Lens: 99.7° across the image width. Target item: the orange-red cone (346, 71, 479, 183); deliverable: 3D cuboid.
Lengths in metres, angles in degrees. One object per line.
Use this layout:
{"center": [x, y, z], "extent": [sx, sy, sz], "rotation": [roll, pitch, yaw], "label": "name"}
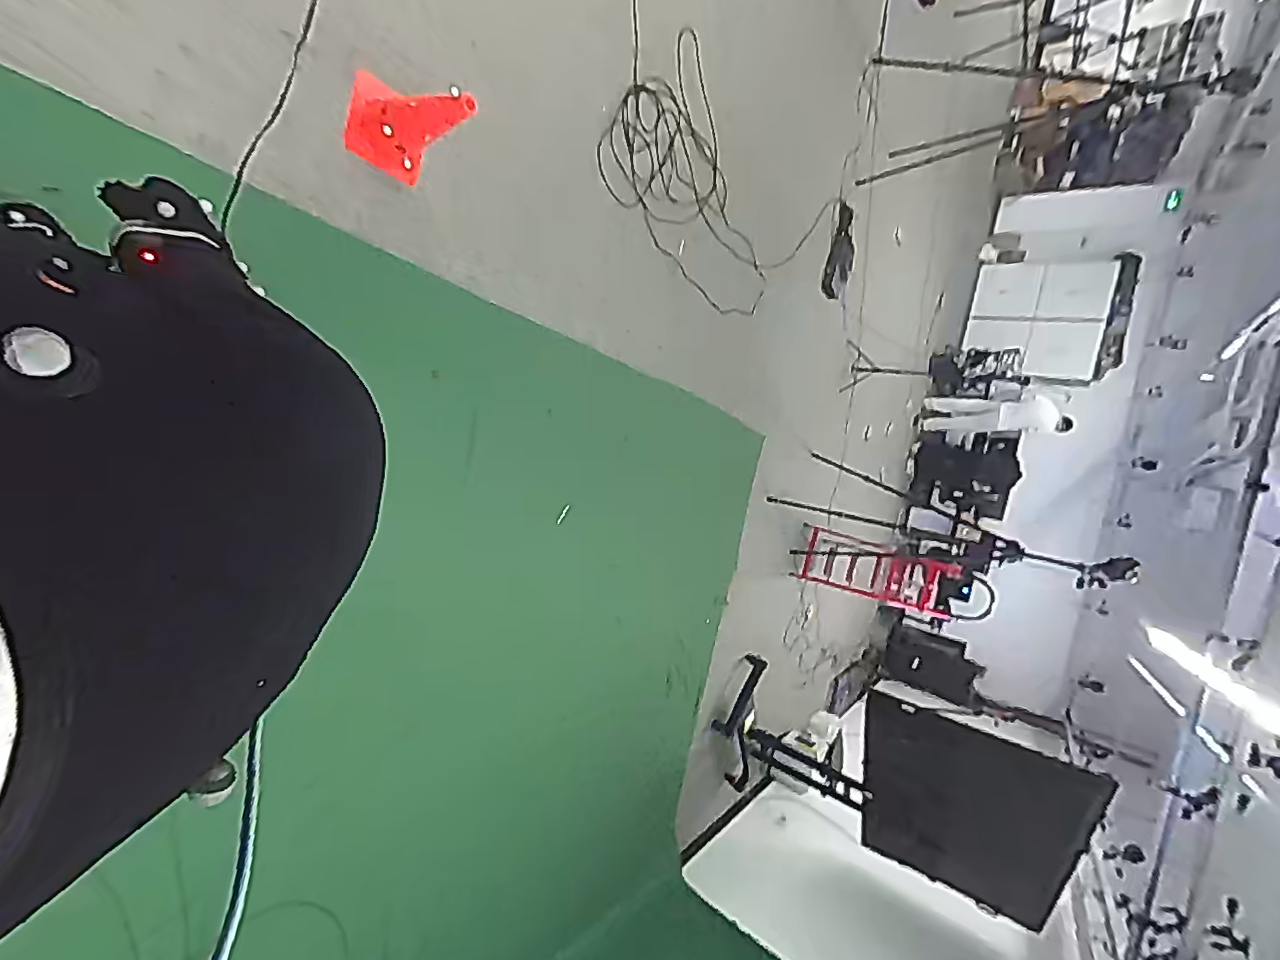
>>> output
{"center": [-0.517, -0.880, 1.307], "extent": [0.198, 0.360, 0.199], "rotation": [11, 91, -55], "label": "orange-red cone"}
